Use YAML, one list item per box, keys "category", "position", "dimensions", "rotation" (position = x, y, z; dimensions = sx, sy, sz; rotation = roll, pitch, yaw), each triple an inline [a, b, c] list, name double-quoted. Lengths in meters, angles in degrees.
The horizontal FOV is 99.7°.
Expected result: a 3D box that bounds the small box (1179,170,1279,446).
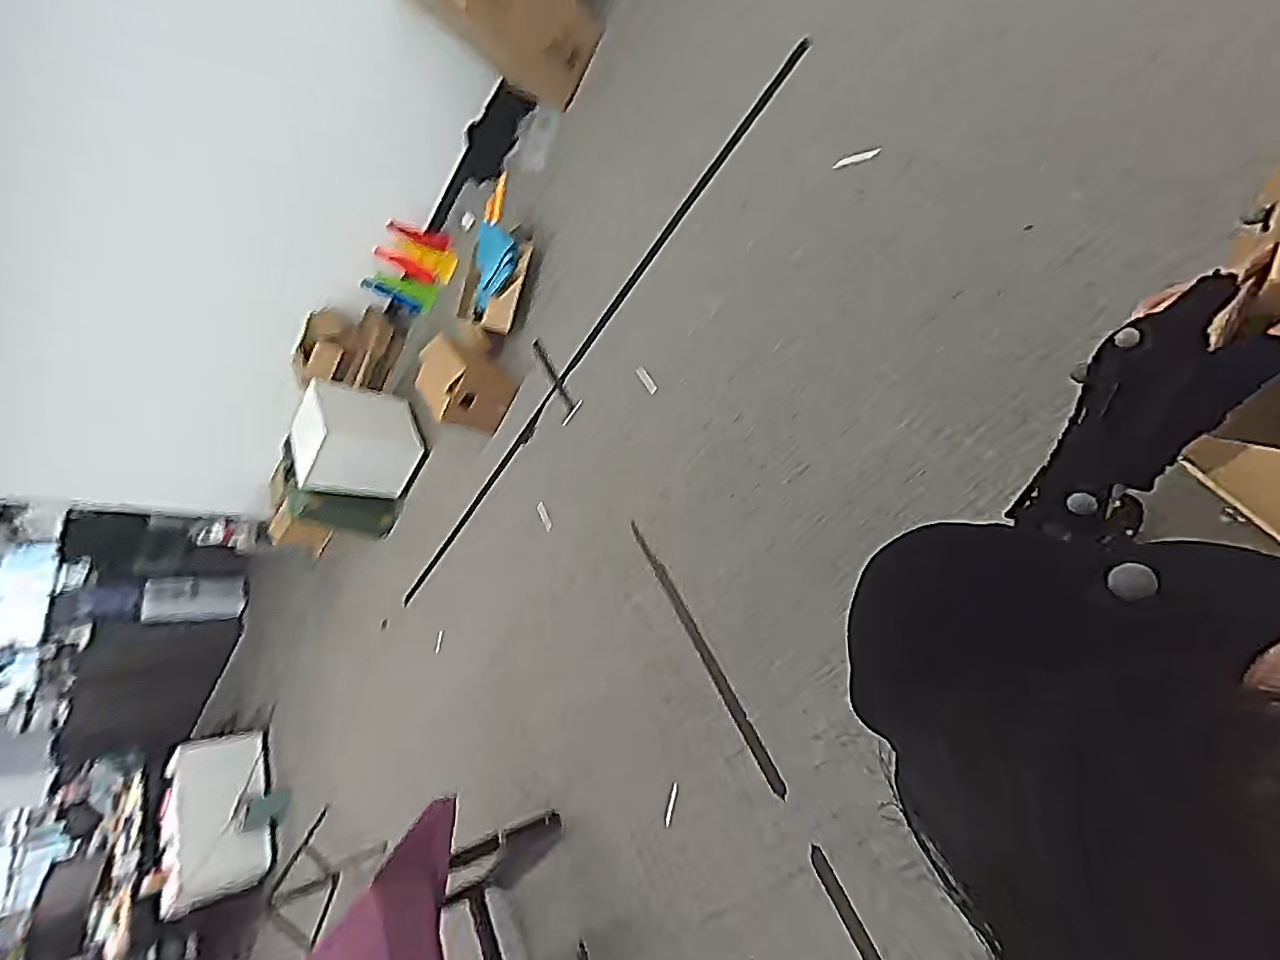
- category: "small box"
  position: [0.492, -0.128, 0.341]
  dimensions: [0.168, 0.176, 0.179]
  rotation: [20, 75, 35]
